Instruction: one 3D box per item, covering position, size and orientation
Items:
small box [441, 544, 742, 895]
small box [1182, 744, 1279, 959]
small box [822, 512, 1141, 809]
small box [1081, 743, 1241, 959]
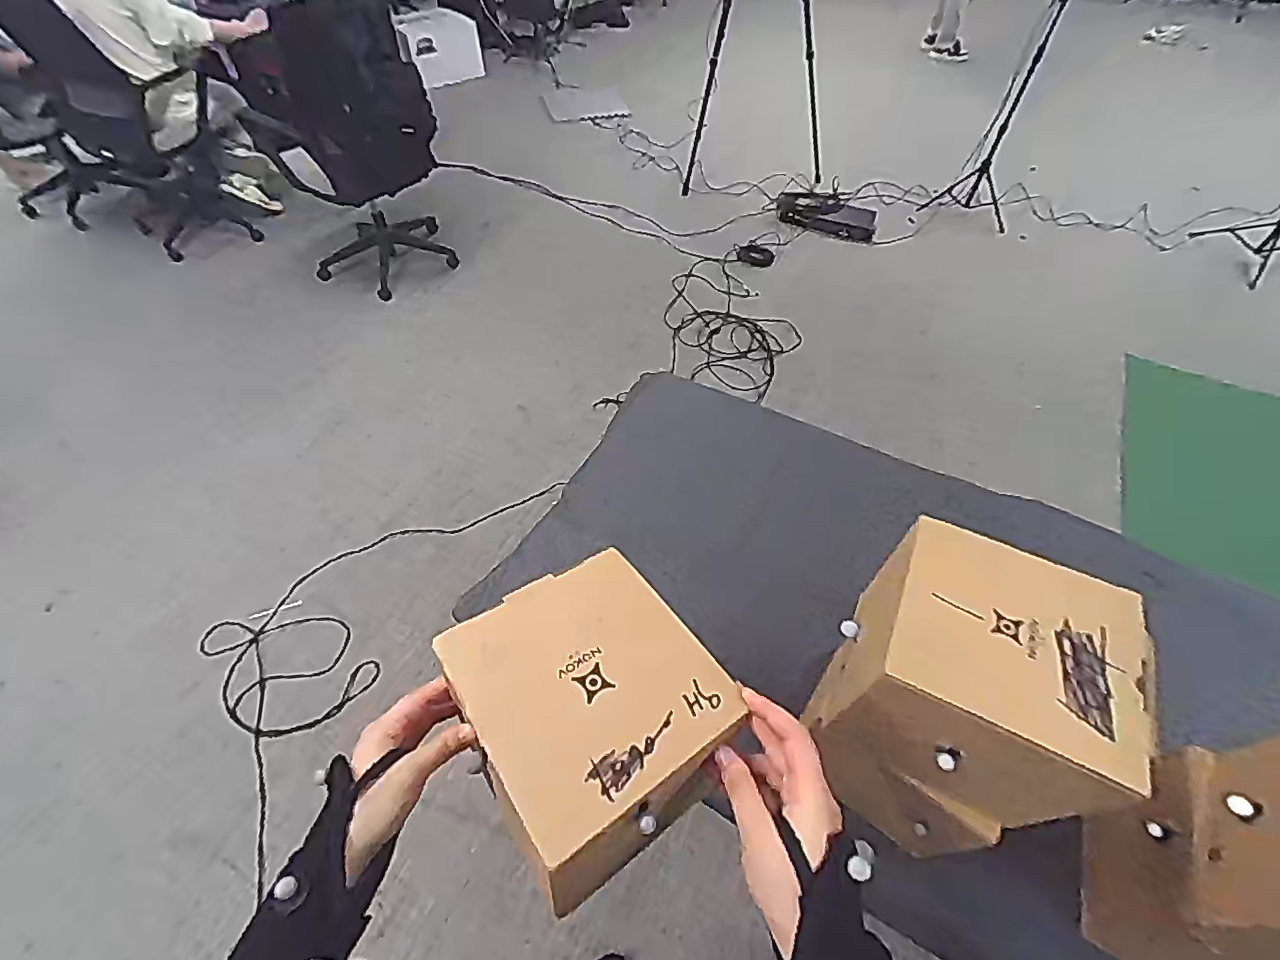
[{"bbox_3d":[-0.045,0.192,0.451,0.168,0.176,0.179,-23,48,-28],"label":"small box"},{"bbox_3d":[0.557,0.302,0.381,0.179,0.176,0.168,32,58,24],"label":"small box"},{"bbox_3d":[0.289,0.165,0.483,0.179,0.176,0.168,23,55,17],"label":"small box"},{"bbox_3d":[0.564,0.392,0.517,0.168,0.176,0.179,23,56,18],"label":"small box"}]
